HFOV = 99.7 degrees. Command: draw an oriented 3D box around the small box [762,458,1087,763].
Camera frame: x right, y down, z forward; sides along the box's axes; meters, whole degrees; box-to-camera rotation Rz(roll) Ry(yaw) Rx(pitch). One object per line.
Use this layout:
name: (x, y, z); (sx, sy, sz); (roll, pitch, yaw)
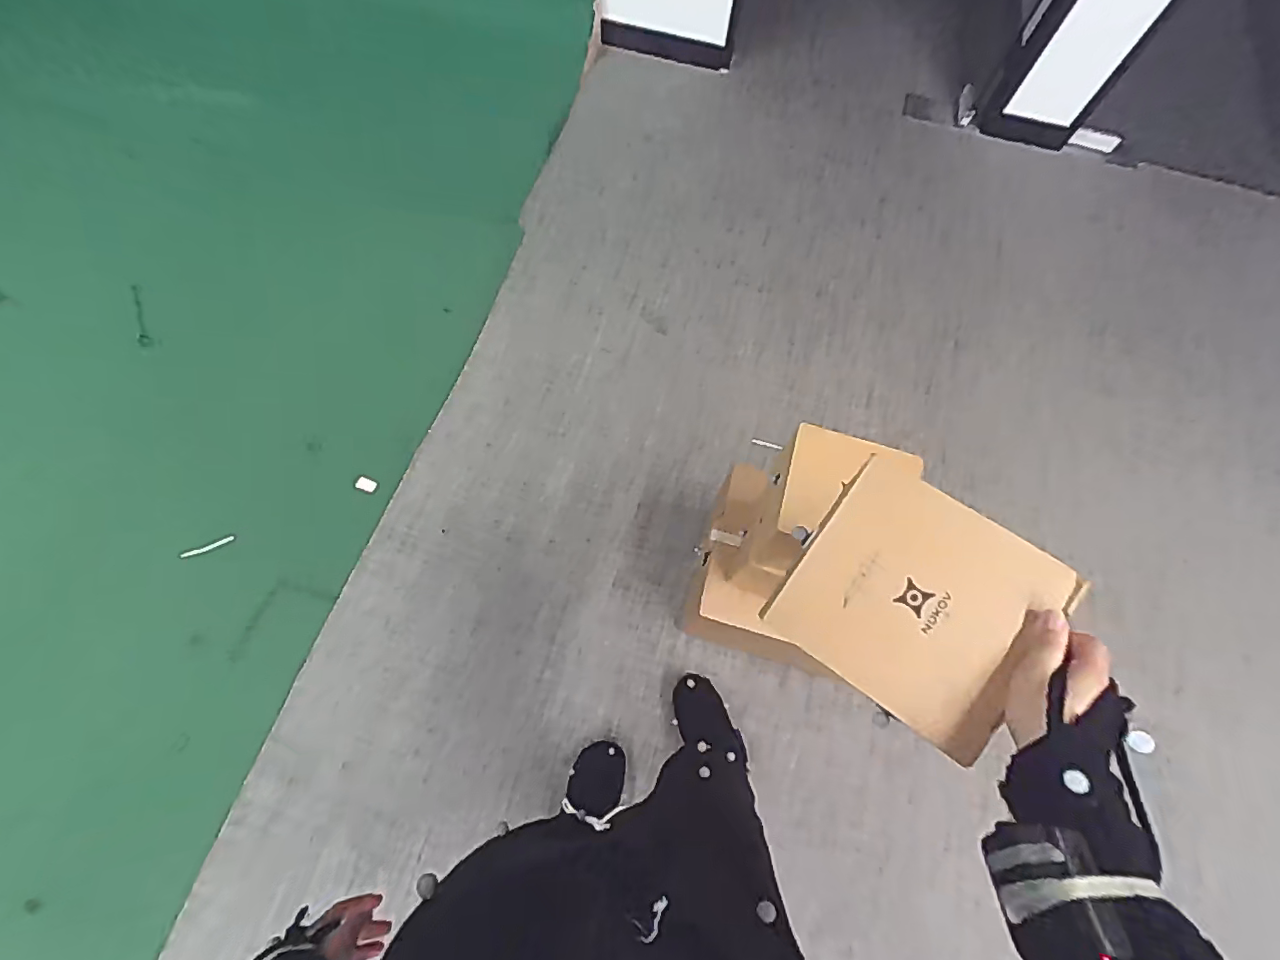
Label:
small box: (0.228, 0.108, 0.487); (0.179, 0.176, 0.168); (33, 84, 16)

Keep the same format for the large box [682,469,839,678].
large box: (0.330, 0.216, 1.156); (0.408, 0.320, 0.320); (16, 70, 2)

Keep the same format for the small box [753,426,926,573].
small box: (0.277, 0.050, 0.781); (0.179, 0.176, 0.168); (17, 68, 4)
